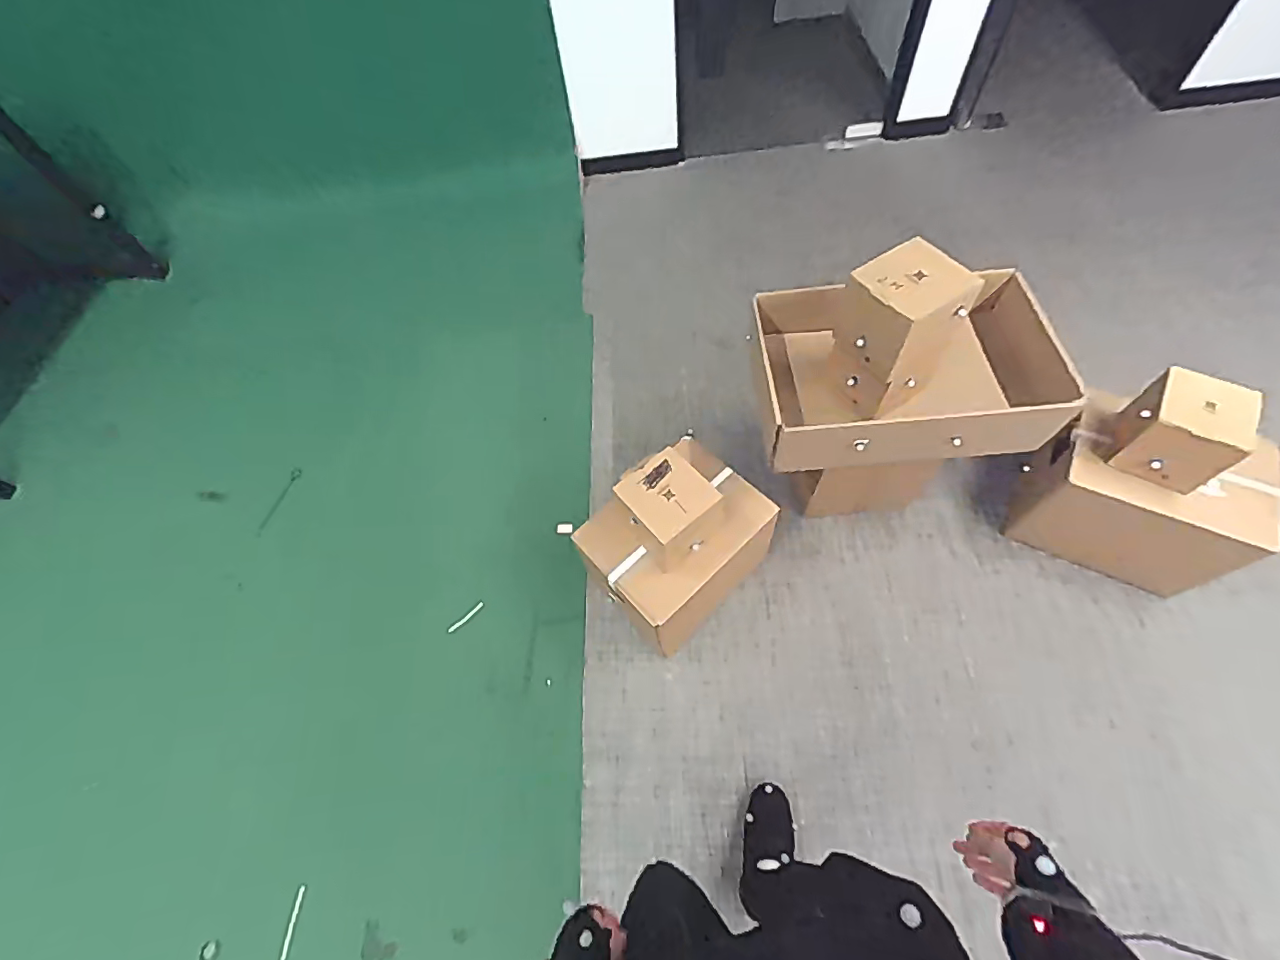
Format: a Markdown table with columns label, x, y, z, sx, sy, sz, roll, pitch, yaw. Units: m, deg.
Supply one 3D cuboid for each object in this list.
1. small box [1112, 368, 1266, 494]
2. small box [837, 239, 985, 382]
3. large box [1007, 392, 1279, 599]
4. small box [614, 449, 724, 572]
| label | x | y | z | sx | sy | sz | roll | pitch | yaw |
| --- | --- | --- | --- | --- | --- | --- | --- | --- | --- |
| small box | 1.182 | -0.103 | 1.175 | 0.168 | 0.176 | 0.179 | 27 | 65 | 20 |
| small box | 0.517 | -0.329 | 1.063 | 0.179 | 0.176 | 0.168 | -30 | 61 | -10 |
| large box | 1.237 | 0.042 | 1.367 | 0.408 | 0.320 | 0.320 | 24 | 65 | 17 |
| small box | 0.064 | 0.072 | 1.192 | 0.168 | 0.176 | 0.179 | -37 | 63 | -14 |
